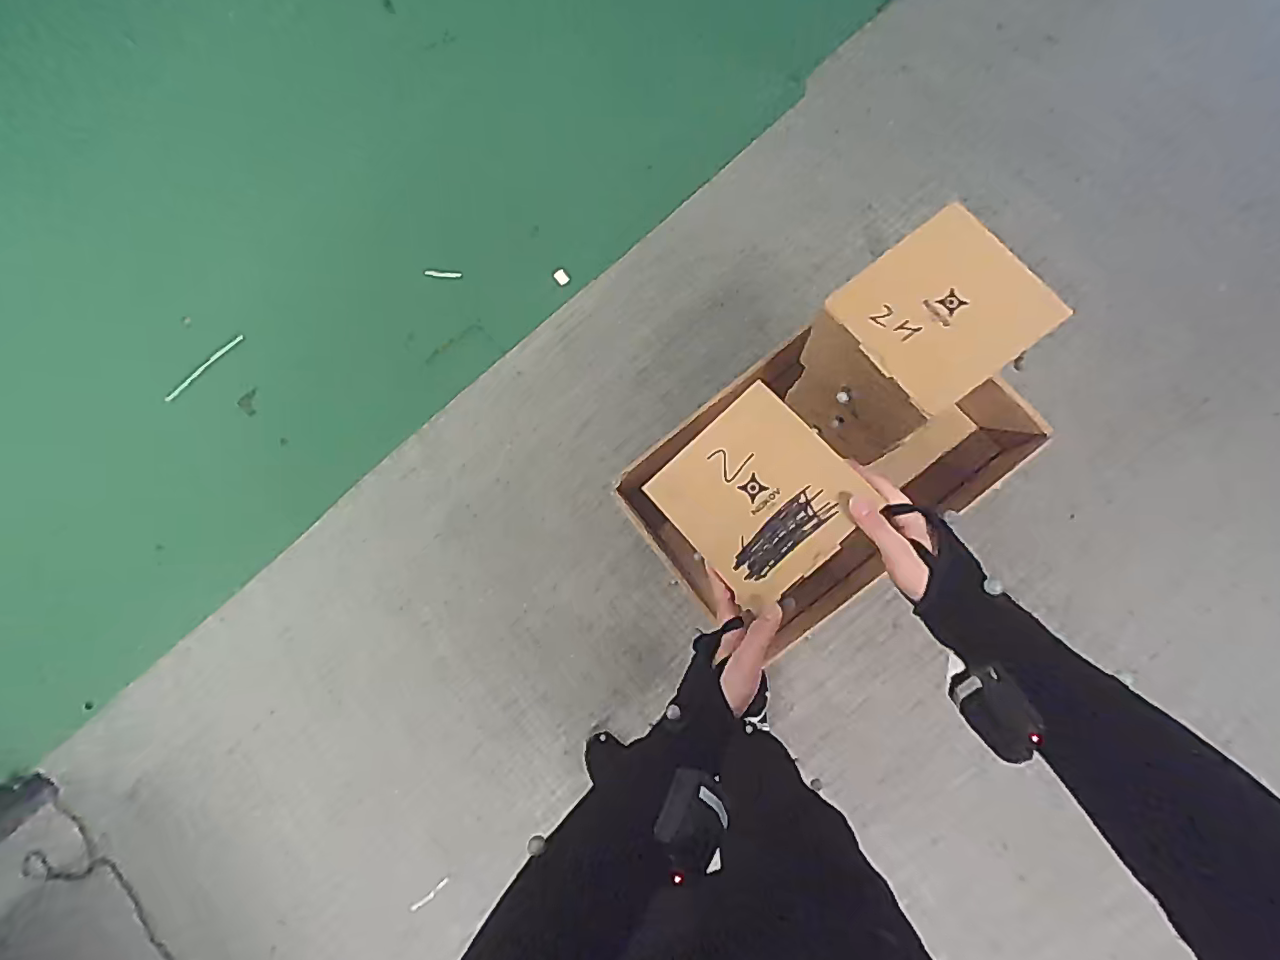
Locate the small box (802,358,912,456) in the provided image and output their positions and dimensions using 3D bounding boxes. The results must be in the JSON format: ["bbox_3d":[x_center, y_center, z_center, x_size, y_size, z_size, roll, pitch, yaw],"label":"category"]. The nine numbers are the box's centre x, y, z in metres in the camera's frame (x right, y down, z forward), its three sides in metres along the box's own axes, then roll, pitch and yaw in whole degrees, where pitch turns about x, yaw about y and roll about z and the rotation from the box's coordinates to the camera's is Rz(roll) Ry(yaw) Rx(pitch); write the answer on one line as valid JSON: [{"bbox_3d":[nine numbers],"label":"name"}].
[{"bbox_3d":[0.352,-0.155,0.776,0.179,0.176,0.168,-45,79,1],"label":"small box"}]

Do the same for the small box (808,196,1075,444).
[{"bbox_3d":[0.316,-0.165,0.614,0.179,0.176,0.168,-37,78,3],"label":"small box"}]

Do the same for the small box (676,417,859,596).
[{"bbox_3d":[0.172,0.042,0.772,0.168,0.176,0.179,-40,78,-1],"label":"small box"}]
